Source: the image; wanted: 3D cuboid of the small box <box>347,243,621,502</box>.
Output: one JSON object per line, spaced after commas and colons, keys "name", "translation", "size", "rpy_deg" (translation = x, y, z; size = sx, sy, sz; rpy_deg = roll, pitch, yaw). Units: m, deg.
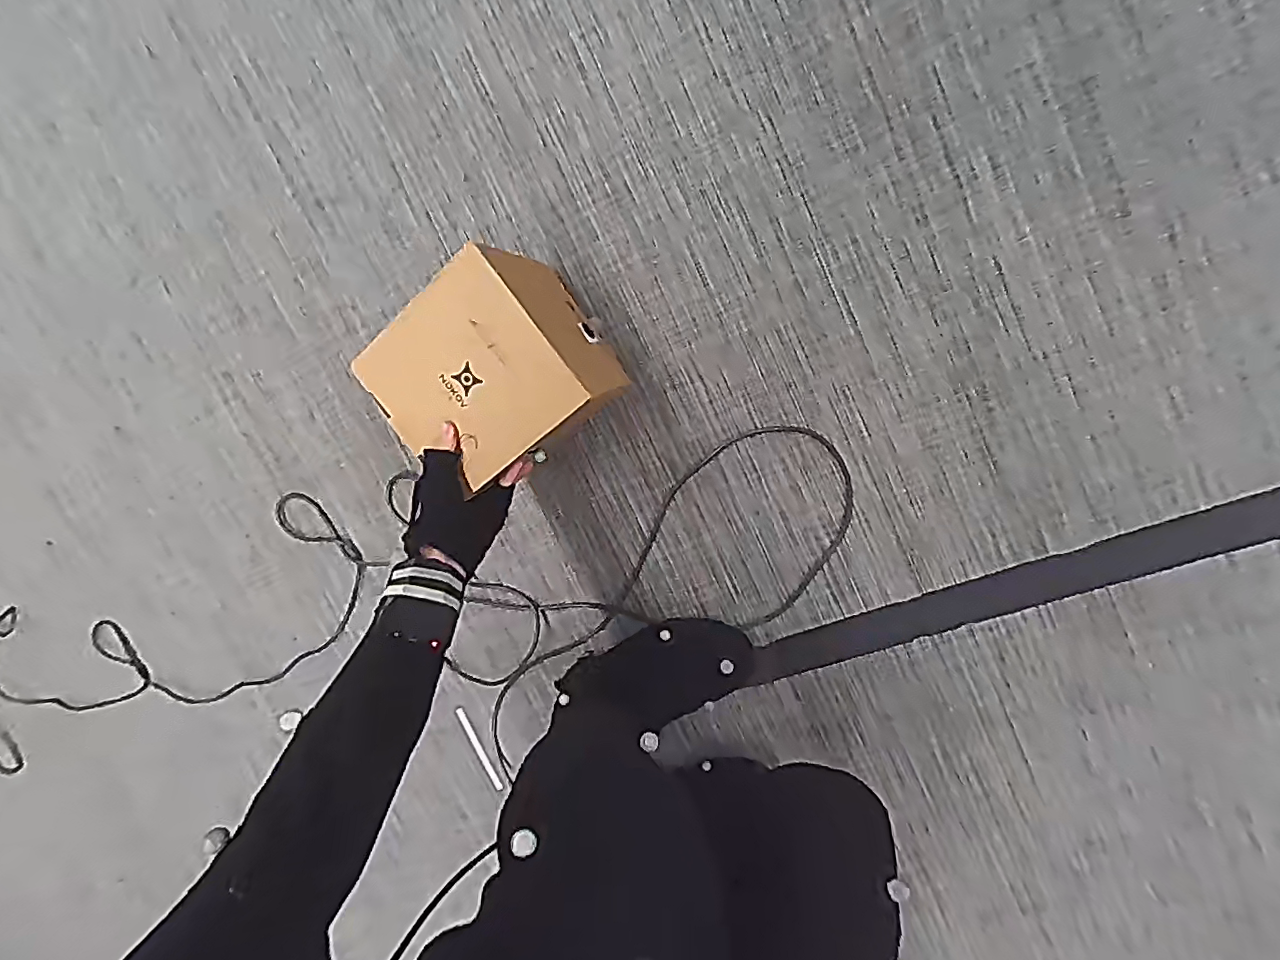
{"name": "small box", "translation": [-0.145, -0.108, 0.560], "size": [0.179, 0.176, 0.168], "rpy_deg": [-37, 95, 19]}
